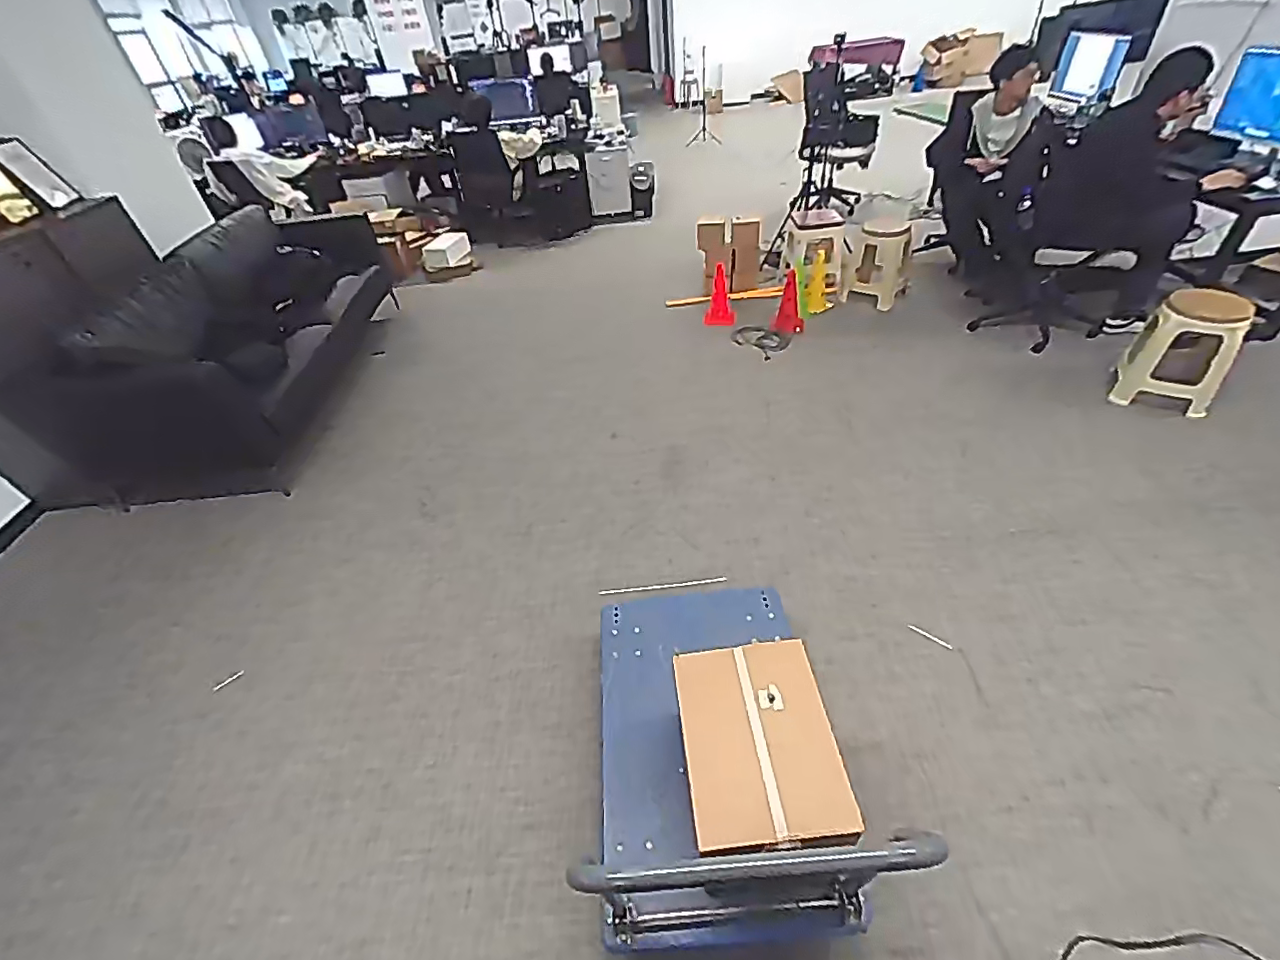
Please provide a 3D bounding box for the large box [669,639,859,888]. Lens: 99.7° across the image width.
[{"bbox_3d":[0.254,0.640,1.239,0.320,0.320,0.408,-7,42,0],"label":"large box"}]
